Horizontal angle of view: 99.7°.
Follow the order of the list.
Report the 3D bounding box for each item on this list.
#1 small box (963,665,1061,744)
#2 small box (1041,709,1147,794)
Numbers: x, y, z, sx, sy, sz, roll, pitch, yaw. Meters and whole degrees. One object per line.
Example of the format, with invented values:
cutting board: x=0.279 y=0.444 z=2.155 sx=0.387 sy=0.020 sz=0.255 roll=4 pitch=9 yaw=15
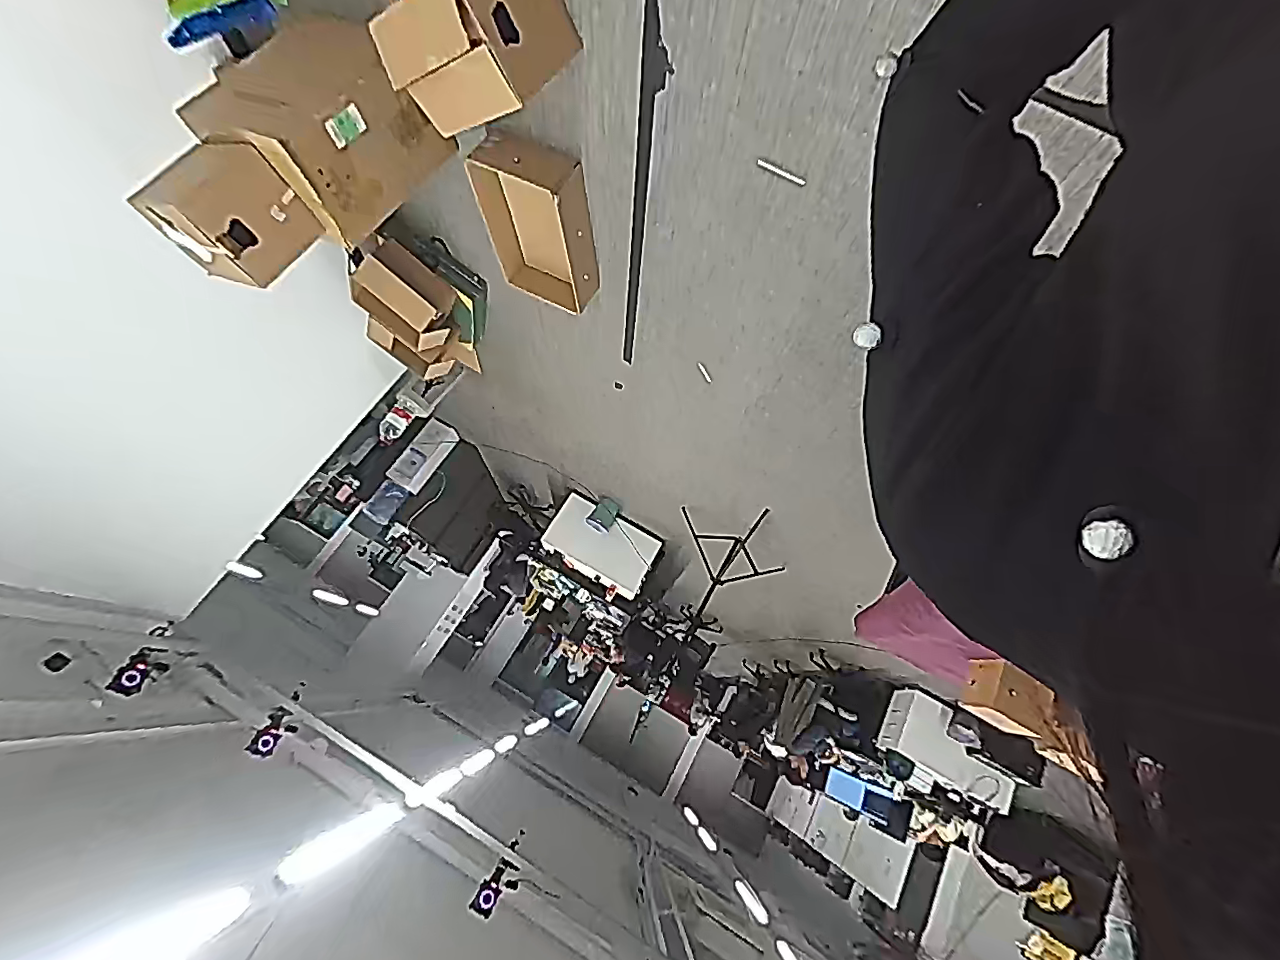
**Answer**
small box: x=1.176 y=0.700 z=1.711 sx=0.179 sy=0.176 sz=0.168 roll=29 pitch=162 yaw=4
small box: x=1.405 y=0.830 z=1.675 sx=0.179 sy=0.176 sz=0.168 roll=30 pitch=160 yaw=8
